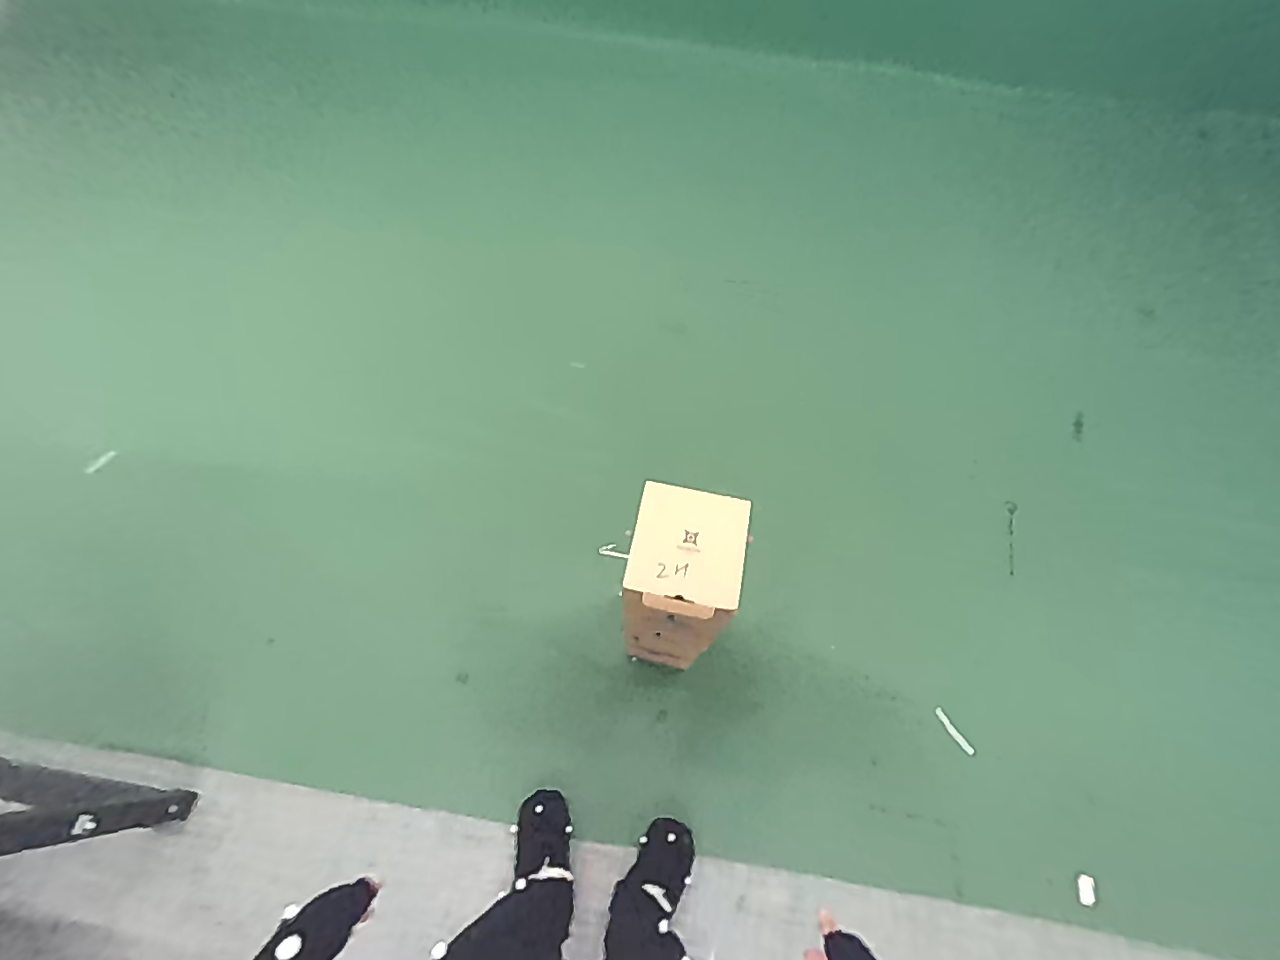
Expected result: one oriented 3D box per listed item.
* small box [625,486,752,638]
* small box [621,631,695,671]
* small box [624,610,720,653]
[{"bbox_3d":[0.071,0.135,0.861,0.168,0.176,0.179,12,64,4],"label":"small box"},{"bbox_3d":[0.054,0.355,1.302,0.168,0.176,0.179,10,66,3],"label":"small box"},{"bbox_3d":[0.065,0.209,1.008,0.168,0.176,0.179,11,64,3],"label":"small box"}]
